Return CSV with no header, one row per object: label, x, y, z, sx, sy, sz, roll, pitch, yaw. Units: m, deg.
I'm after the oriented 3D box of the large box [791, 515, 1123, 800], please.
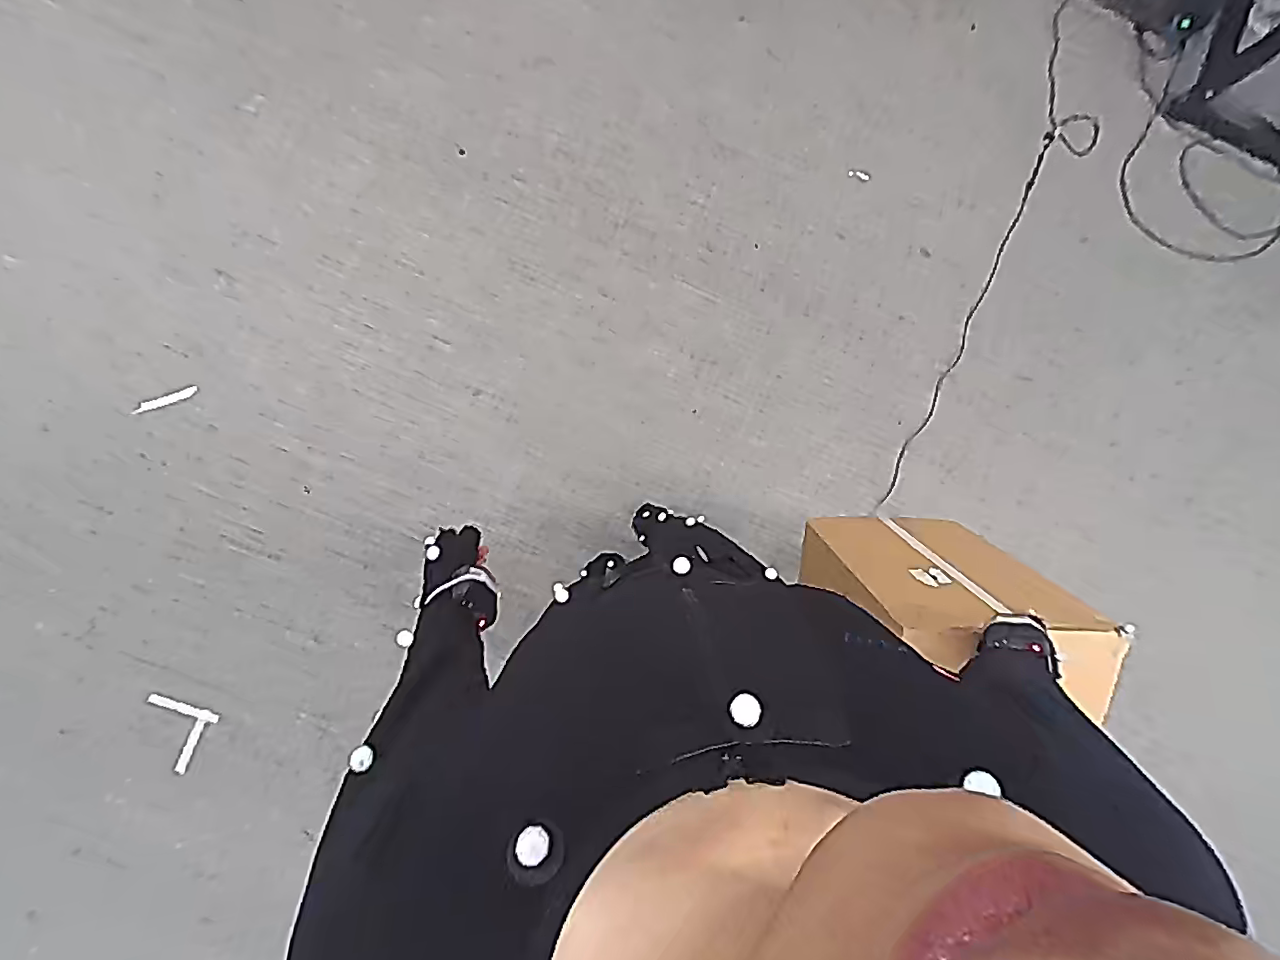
large box,0.495,0.280,0.962,0.320,0.408,0.320,0,108,-3
